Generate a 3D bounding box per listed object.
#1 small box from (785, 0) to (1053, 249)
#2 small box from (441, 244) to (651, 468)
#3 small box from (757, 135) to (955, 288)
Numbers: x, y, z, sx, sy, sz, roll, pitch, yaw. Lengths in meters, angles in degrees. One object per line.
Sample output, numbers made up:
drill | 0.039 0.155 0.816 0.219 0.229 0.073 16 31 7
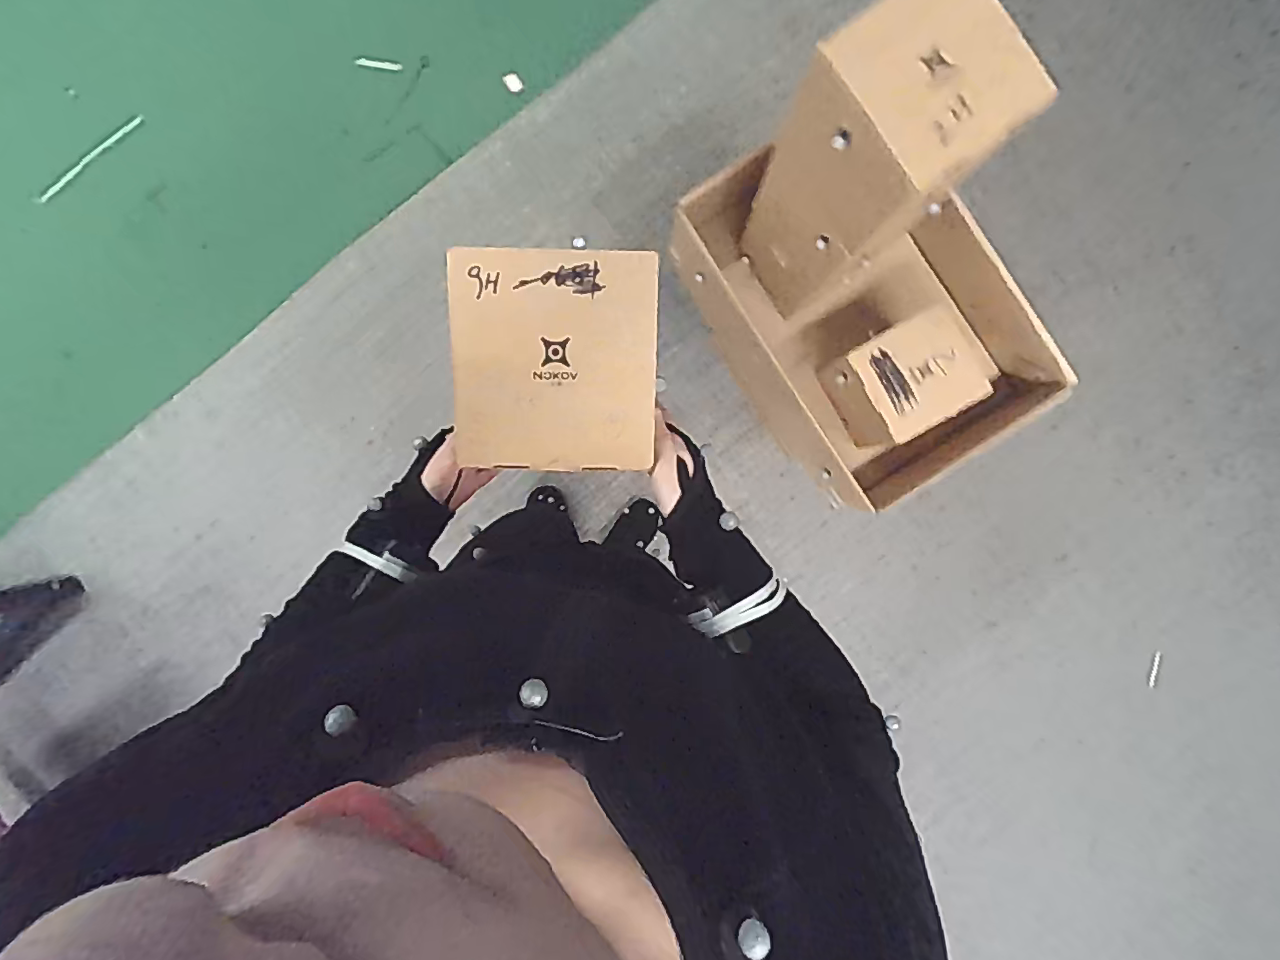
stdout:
small box | 0.290 -0.399 0.606 0.168 0.176 0.179 -34 92 2
small box | -0.076 -0.114 0.514 0.168 0.176 0.179 0 102 -2
small box | 0.291 -0.408 0.771 0.168 0.176 0.179 -34 93 1
